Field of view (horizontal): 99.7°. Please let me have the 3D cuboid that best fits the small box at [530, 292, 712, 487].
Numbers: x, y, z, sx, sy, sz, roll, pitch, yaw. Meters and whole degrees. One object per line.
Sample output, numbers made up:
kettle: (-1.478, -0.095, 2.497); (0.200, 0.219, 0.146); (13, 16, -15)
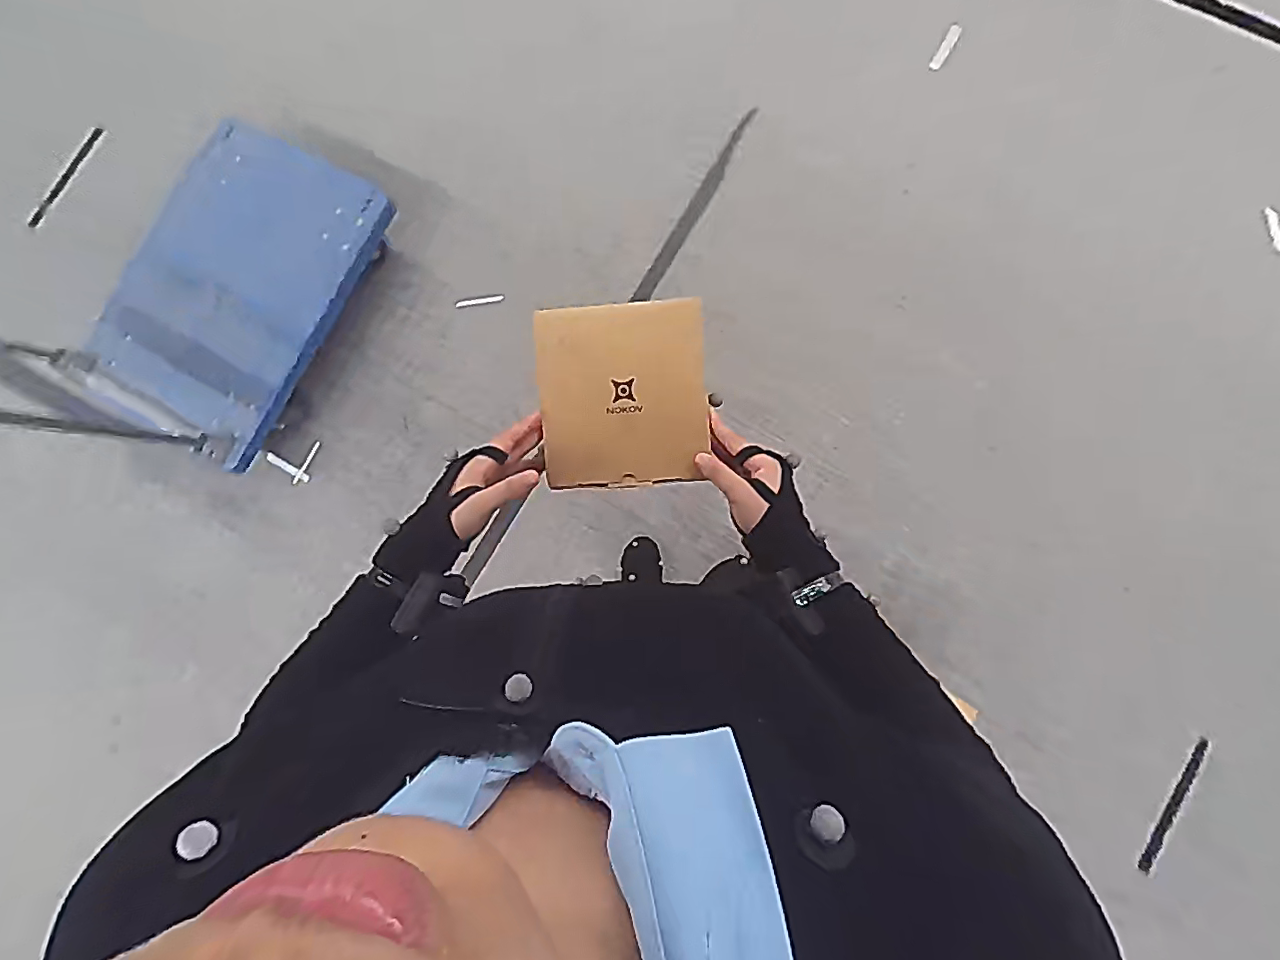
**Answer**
small box: (-0.014, -0.092, 0.598); (0.168, 0.176, 0.179); (-5, 95, 4)
